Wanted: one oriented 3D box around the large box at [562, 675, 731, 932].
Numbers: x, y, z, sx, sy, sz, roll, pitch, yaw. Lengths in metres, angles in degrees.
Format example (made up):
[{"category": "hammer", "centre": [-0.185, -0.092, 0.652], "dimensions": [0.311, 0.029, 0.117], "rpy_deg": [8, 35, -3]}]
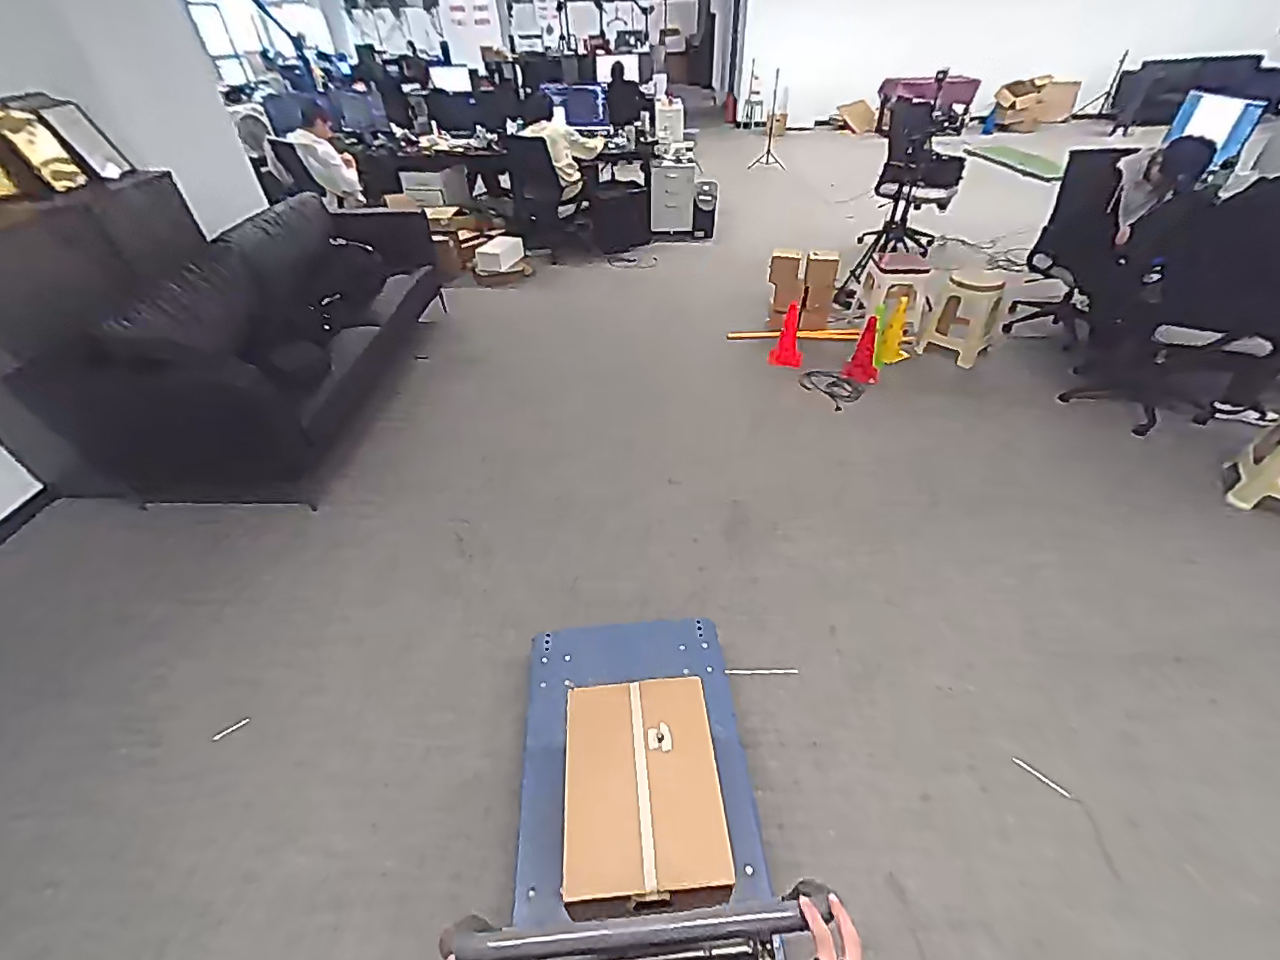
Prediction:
[{"category": "large box", "centre": [0.002, 0.715, 1.217], "dimensions": [0.320, 0.320, 0.408], "rpy_deg": [-4, 41, -3]}]
